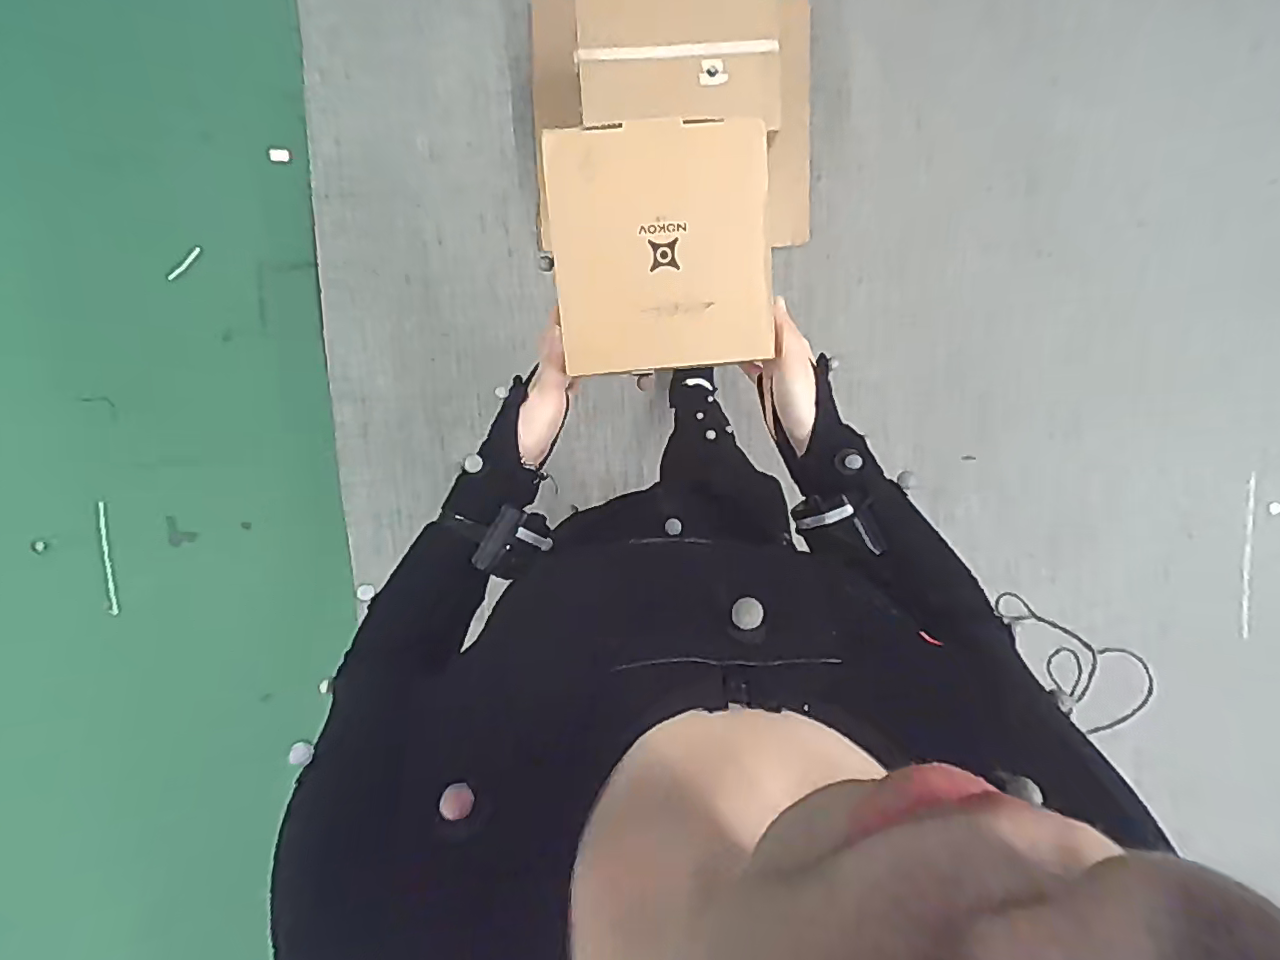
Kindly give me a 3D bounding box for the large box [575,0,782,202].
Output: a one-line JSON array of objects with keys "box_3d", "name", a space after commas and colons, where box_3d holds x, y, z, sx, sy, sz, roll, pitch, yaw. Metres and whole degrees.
[{"box_3d": [0.073, -0.858, 1.221, 0.408, 0.320, 0.320, -3, 96, -2], "name": "large box"}]
